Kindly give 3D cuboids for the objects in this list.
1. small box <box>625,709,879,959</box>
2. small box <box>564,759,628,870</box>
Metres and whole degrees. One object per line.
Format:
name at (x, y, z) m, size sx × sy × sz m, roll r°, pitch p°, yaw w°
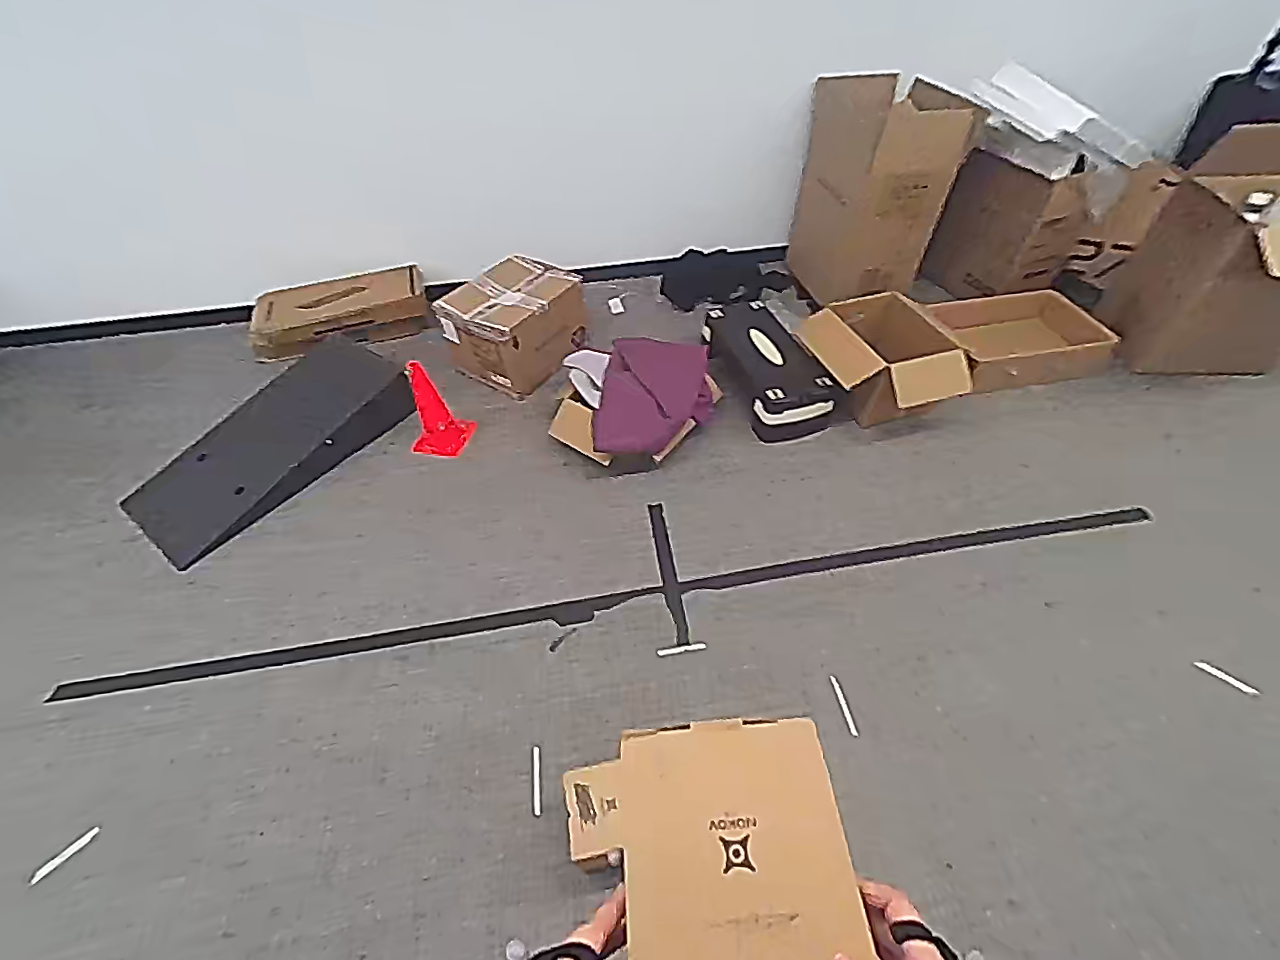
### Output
small box at (0.072, 0.318, 0.463) m, size 0.168 × 0.176 × 0.179 m, roll -4°, pitch 49°, yaw -2°
small box at (-0.061, 0.738, 1.194) m, size 0.179 × 0.176 × 0.168 m, roll -10°, pitch 49°, yaw -6°
